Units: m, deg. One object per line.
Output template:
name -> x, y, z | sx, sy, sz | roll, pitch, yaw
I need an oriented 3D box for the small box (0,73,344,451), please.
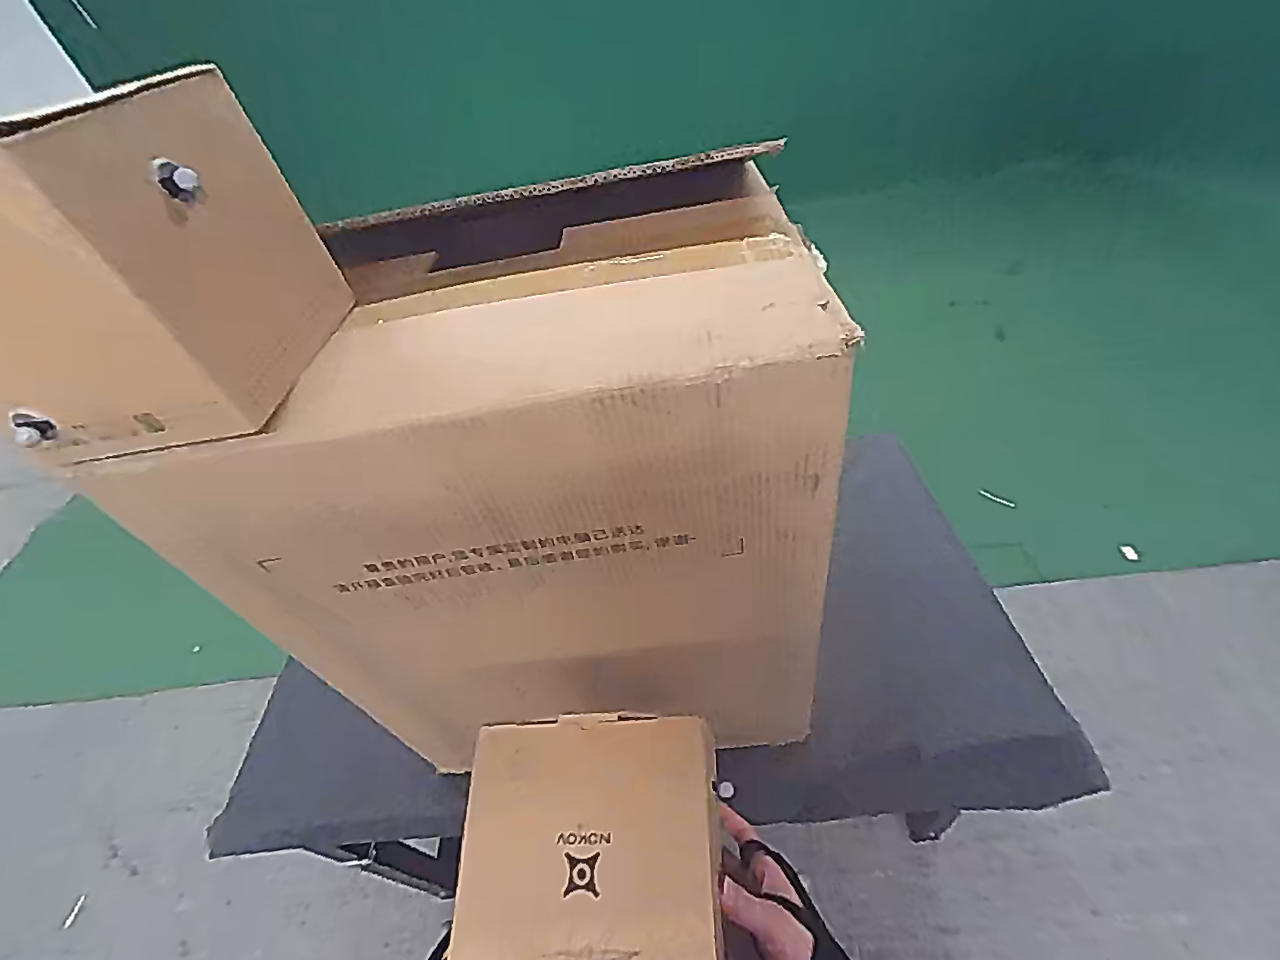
small box -> -0.337, -0.133, 0.357 | 0.168, 0.176, 0.179 | -8, 44, 8
